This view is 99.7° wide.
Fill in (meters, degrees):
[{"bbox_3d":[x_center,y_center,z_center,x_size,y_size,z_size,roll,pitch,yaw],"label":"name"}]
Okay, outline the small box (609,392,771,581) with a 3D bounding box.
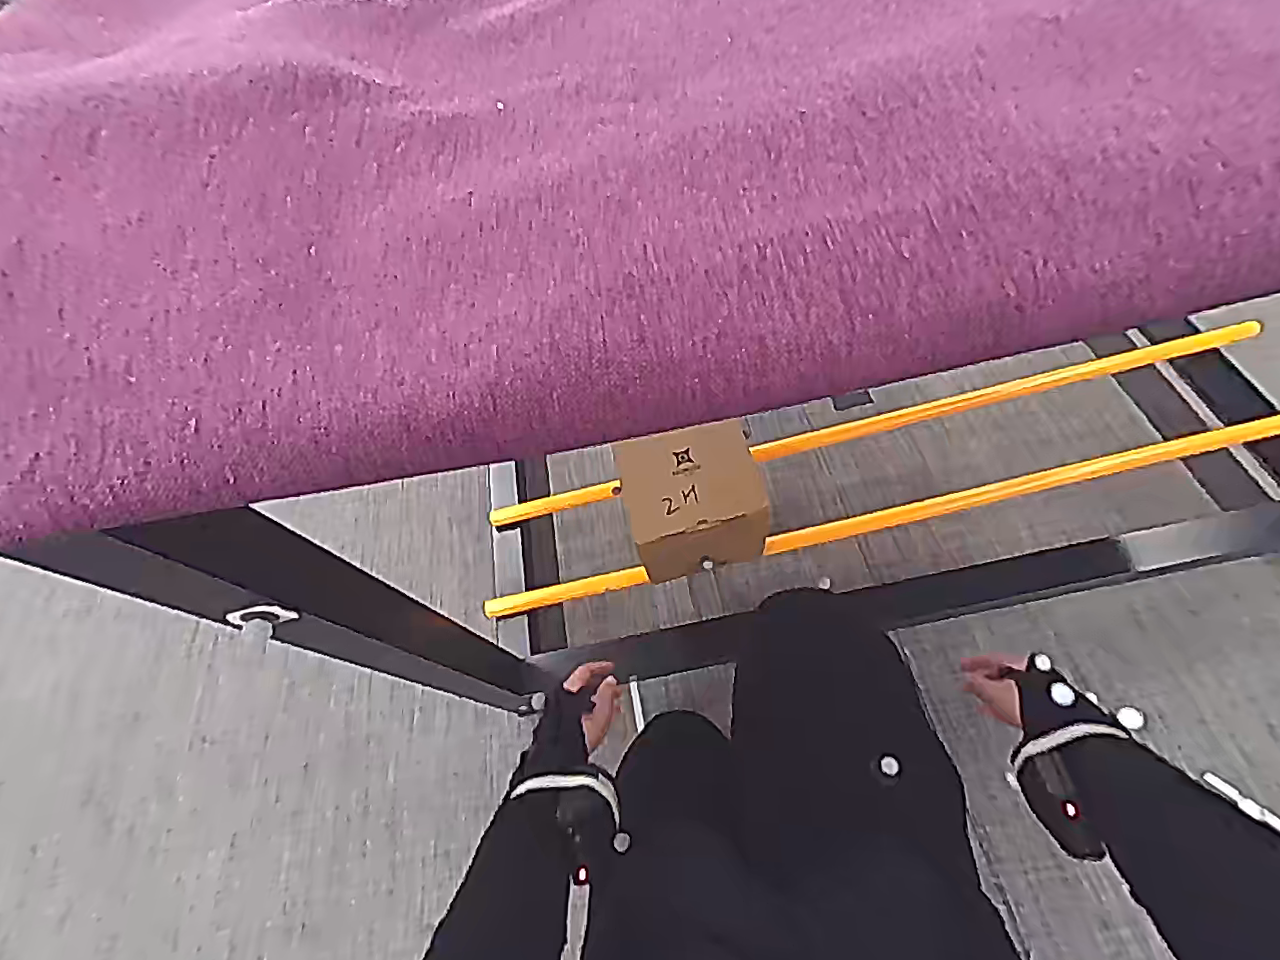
[{"bbox_3d":[0.064,0.015,0.728,0.168,0.176,0.179,-15,61,1],"label":"small box"}]
